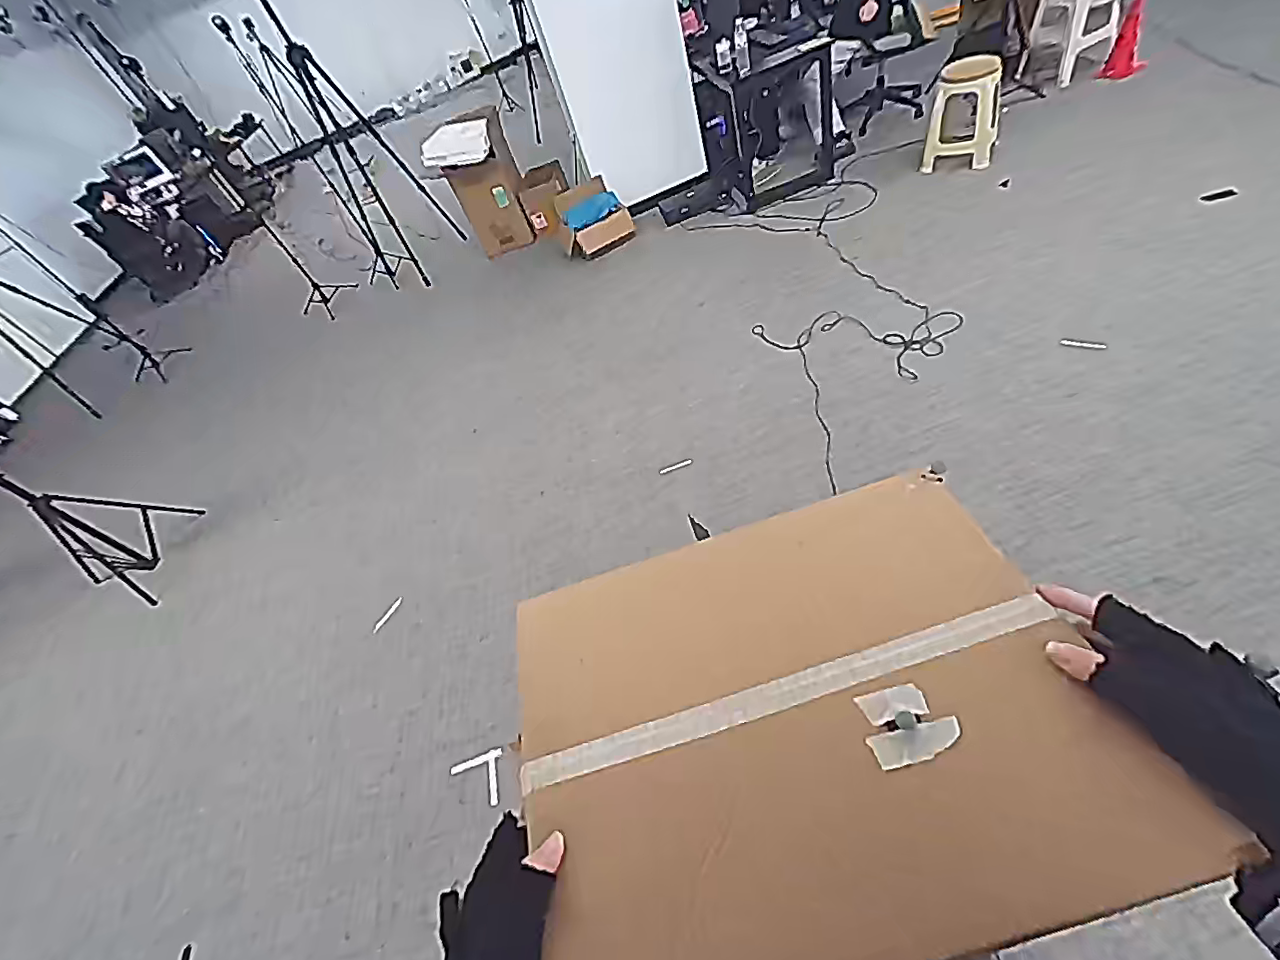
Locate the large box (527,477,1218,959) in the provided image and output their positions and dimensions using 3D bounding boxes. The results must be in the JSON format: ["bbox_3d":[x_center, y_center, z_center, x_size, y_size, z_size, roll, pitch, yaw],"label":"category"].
[{"bbox_3d":[0.145,0.262,0.516,0.408,0.320,0.320,-19,46,1],"label":"large box"}]
